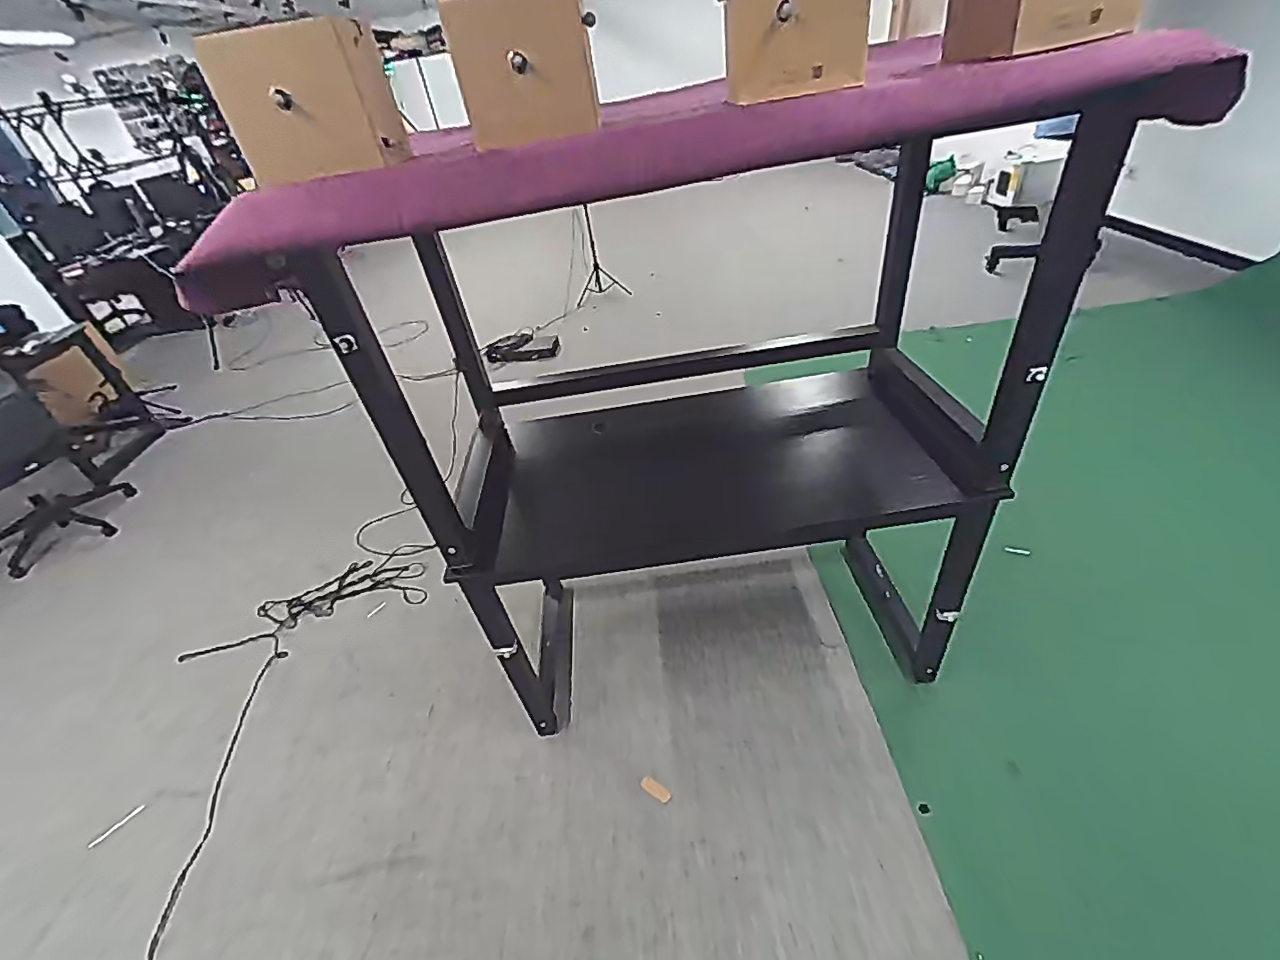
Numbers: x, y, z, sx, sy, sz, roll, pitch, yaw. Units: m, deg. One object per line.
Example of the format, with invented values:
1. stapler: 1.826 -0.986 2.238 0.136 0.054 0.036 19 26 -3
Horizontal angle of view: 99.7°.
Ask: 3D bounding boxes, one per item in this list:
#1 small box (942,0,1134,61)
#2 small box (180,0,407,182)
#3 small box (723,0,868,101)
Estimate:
1. small box: 0.542 -0.685 0.727 0.168 0.176 0.179 -10 36 1
2. small box: -0.443 -0.523 0.733 0.179 0.176 0.168 -10 38 -1
3. small box: 0.204 -0.629 0.733 0.168 0.176 0.179 -5 37 6
